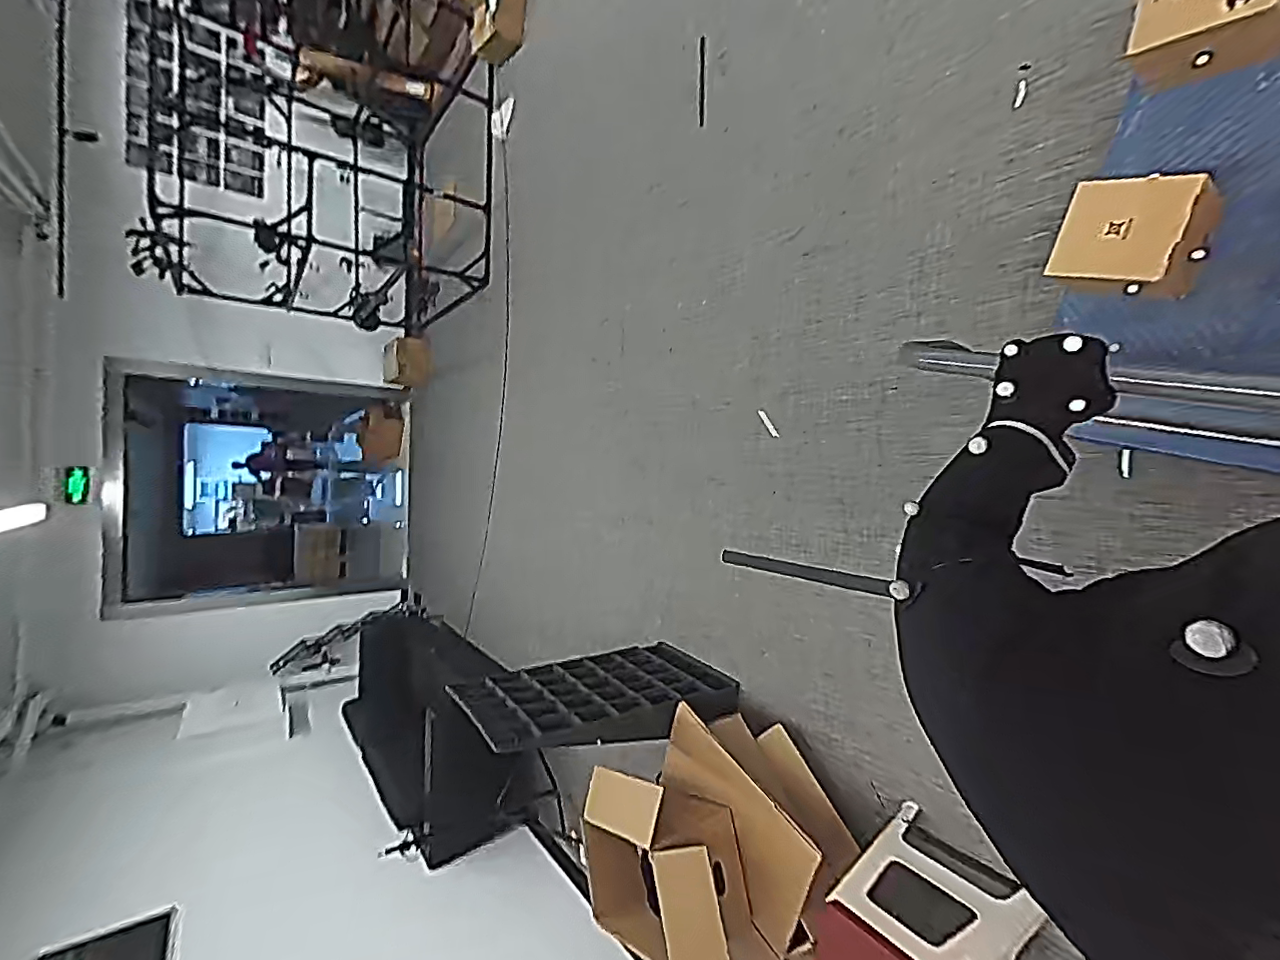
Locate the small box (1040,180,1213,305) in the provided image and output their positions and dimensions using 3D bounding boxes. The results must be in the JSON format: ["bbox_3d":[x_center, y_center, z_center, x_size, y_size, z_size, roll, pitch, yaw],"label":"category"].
[{"bbox_3d":[0.887,-0.426,0.989,0.179,0.176,0.168,30,113,48],"label":"small box"}]
